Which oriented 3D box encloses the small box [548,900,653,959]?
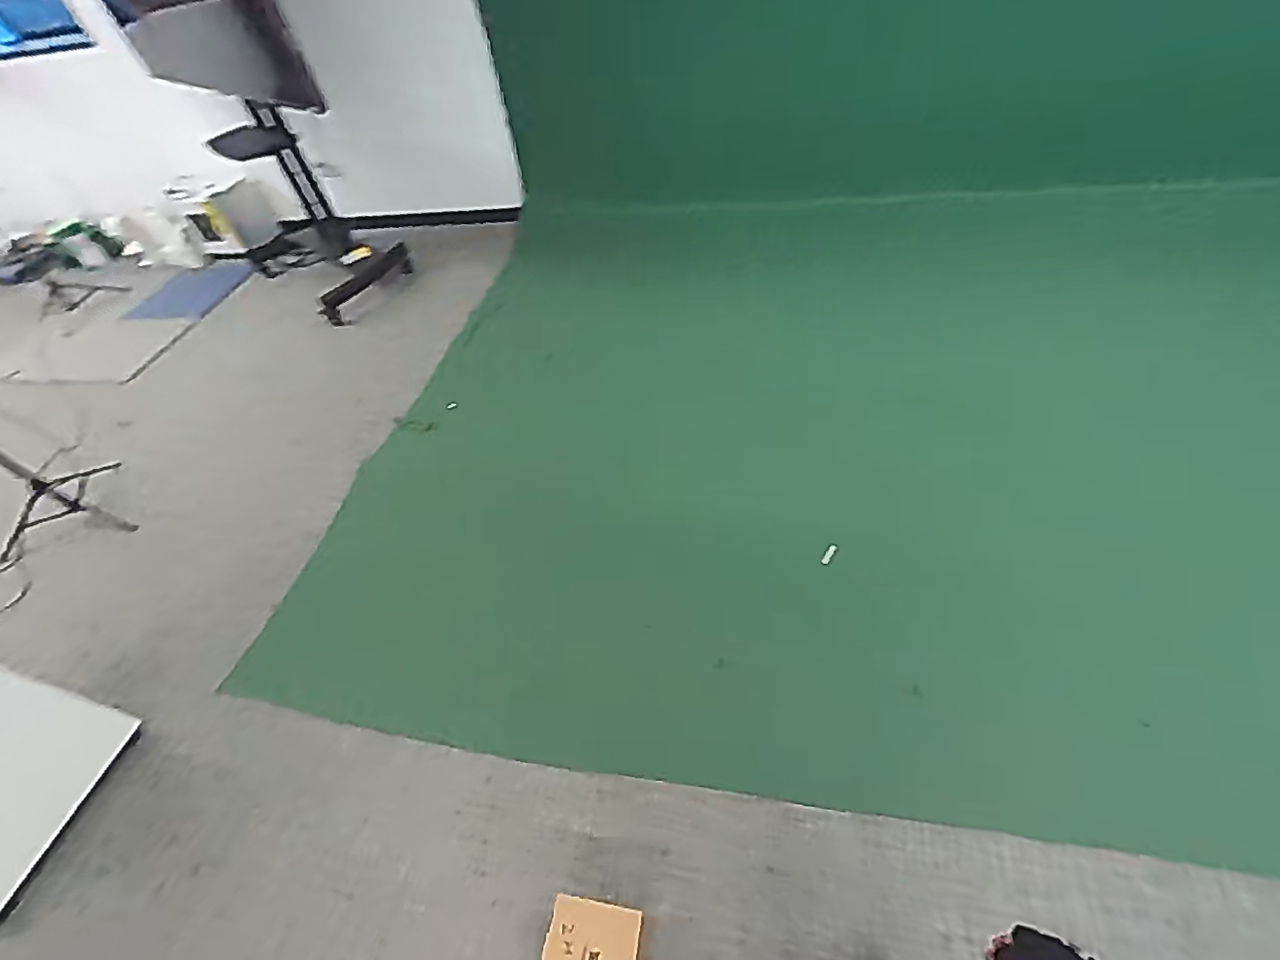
[{"bbox_3d":[-0.075,0.939,1.049,0.179,0.176,0.168,3,49,12],"label":"small box"}]
